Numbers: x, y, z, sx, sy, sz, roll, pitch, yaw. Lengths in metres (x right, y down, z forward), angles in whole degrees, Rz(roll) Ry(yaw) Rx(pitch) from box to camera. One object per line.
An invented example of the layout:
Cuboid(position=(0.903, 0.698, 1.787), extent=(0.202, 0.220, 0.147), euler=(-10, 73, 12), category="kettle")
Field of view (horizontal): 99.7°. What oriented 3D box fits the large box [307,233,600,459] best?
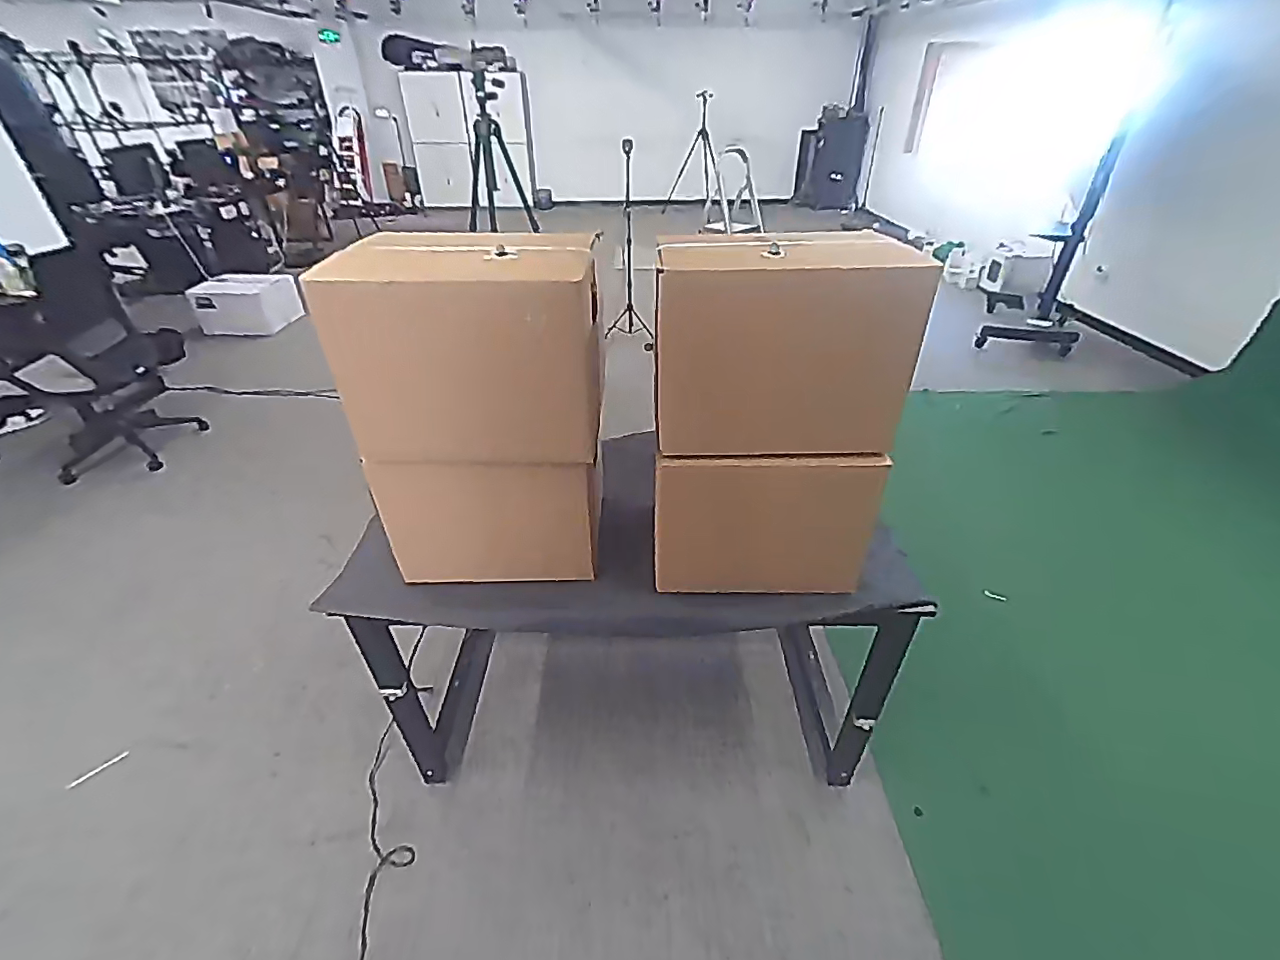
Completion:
Cuboid(position=(-0.282, -0.246, 0.973), extent=(0.408, 0.320, 0.320), euler=(1, 36, -1), category="large box")
